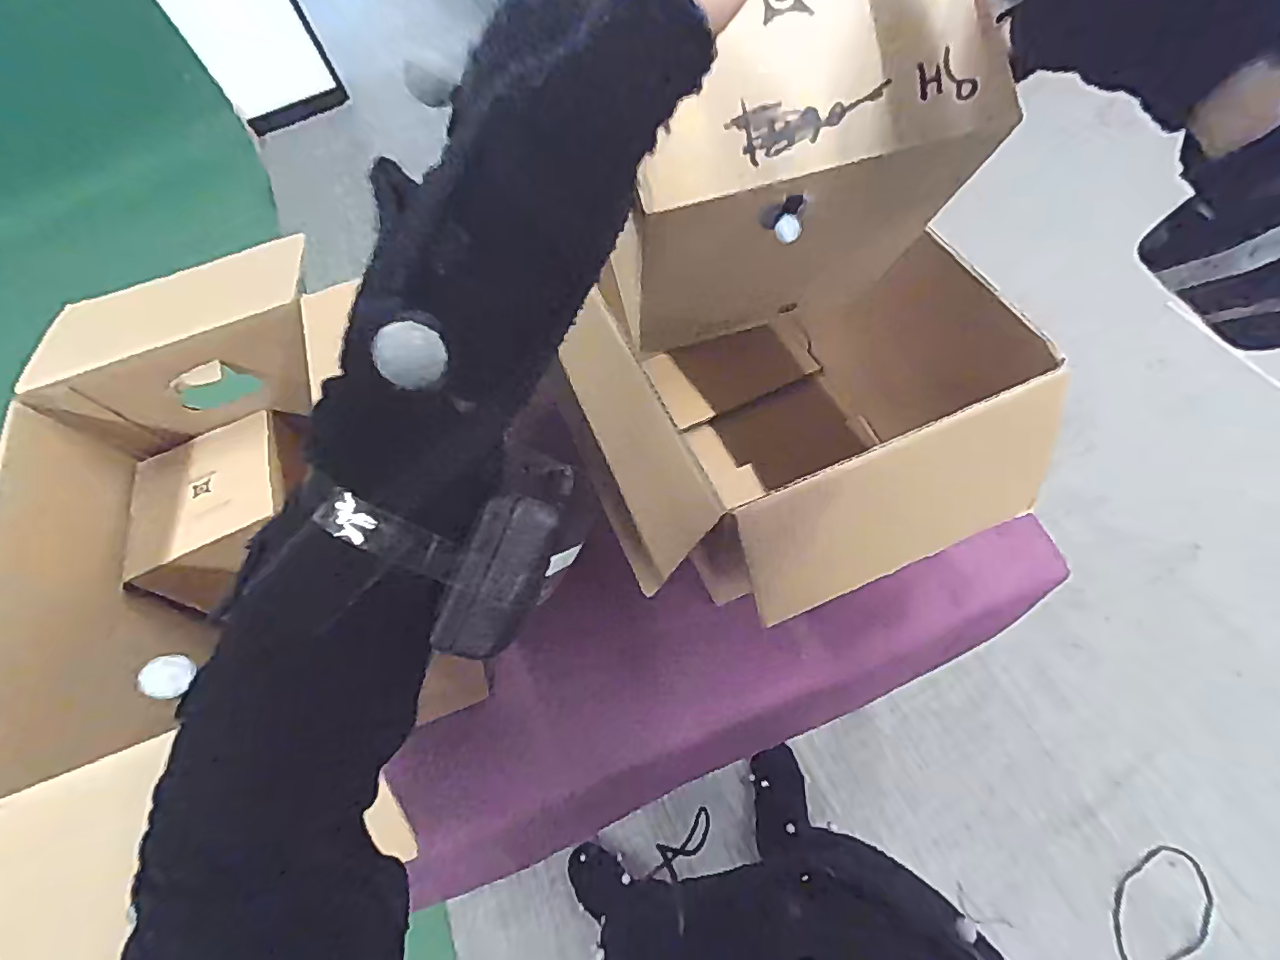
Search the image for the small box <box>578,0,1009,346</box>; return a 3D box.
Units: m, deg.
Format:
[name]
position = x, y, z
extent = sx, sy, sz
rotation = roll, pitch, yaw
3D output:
[small box]
position = 0.062, -0.206, 0.323
extent = 0.168, 0.176, 0.179
rotation = -15, 84, -1
